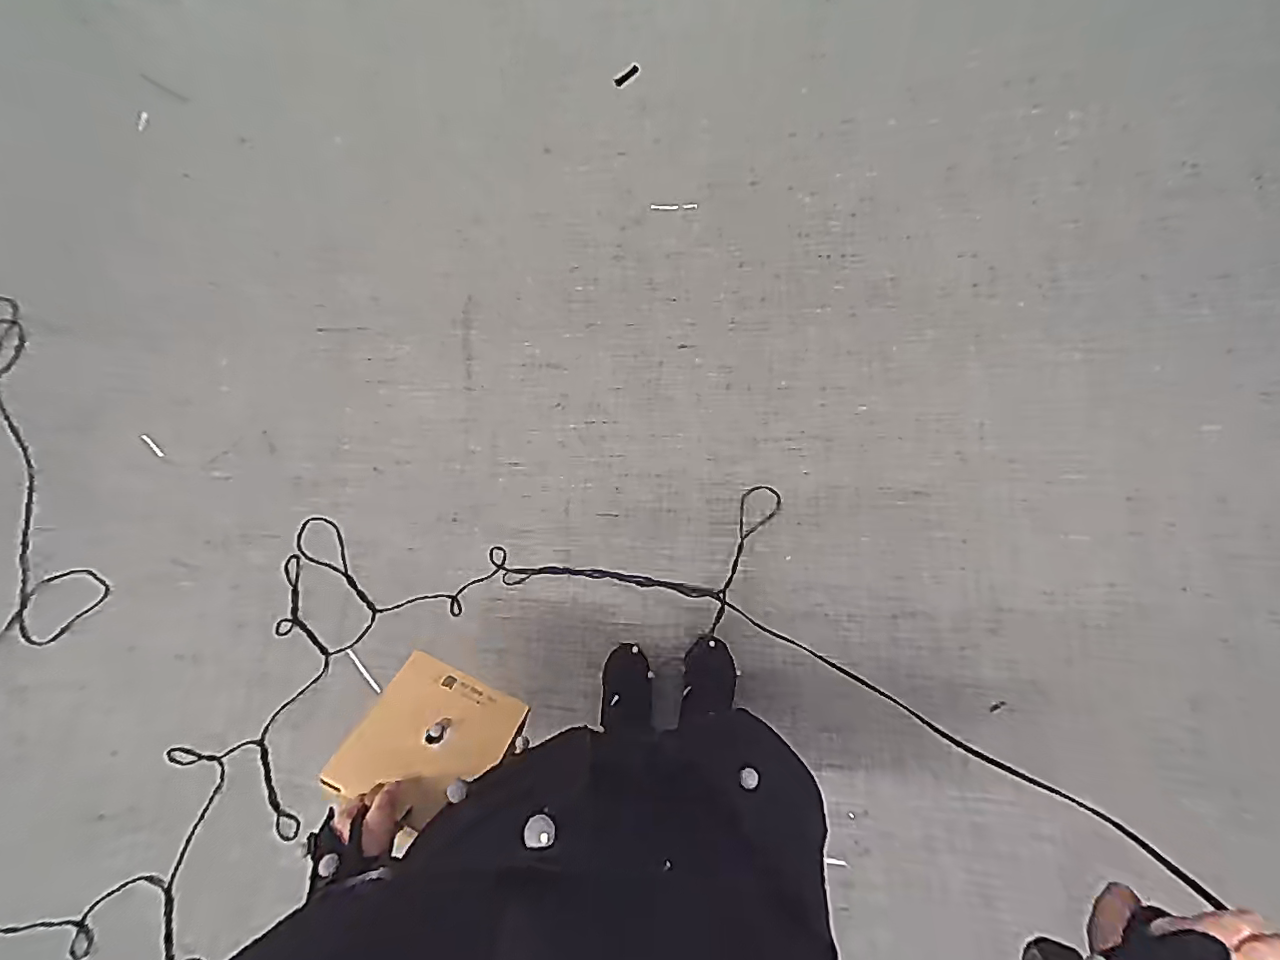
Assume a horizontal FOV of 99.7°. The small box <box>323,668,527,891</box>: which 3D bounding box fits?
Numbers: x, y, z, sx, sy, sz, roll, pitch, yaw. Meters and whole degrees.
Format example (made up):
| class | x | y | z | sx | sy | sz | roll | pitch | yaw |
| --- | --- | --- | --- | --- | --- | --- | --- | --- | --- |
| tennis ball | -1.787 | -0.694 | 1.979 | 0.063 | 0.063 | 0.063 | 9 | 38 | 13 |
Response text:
| class | x | y | z | sx | sy | sz | roll | pitch | yaw |
| --- | --- | --- | --- | --- | --- | --- | --- | --- | --- |
| small box | -0.259 | 0.370 | 0.680 | 0.168 | 0.179 | 0.176 | 26 | 43 | 5 |
